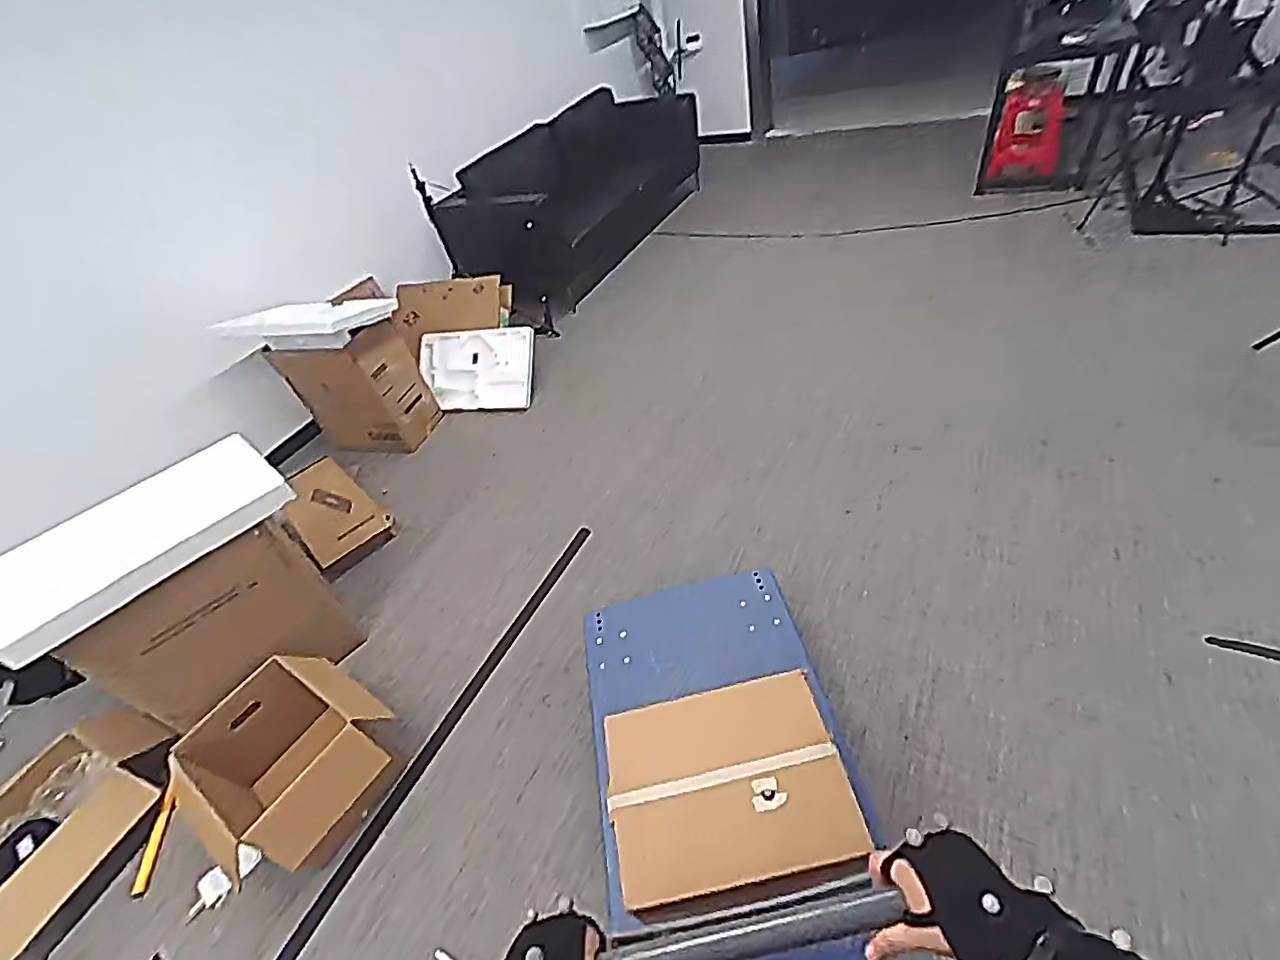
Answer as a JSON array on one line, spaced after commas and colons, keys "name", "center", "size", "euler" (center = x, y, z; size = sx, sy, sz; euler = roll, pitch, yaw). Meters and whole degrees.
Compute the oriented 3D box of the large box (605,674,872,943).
[{"name": "large box", "center": [0.173, 0.636, 1.049], "size": [0.408, 0.320, 0.320], "euler": [-14, 43, 0]}]
